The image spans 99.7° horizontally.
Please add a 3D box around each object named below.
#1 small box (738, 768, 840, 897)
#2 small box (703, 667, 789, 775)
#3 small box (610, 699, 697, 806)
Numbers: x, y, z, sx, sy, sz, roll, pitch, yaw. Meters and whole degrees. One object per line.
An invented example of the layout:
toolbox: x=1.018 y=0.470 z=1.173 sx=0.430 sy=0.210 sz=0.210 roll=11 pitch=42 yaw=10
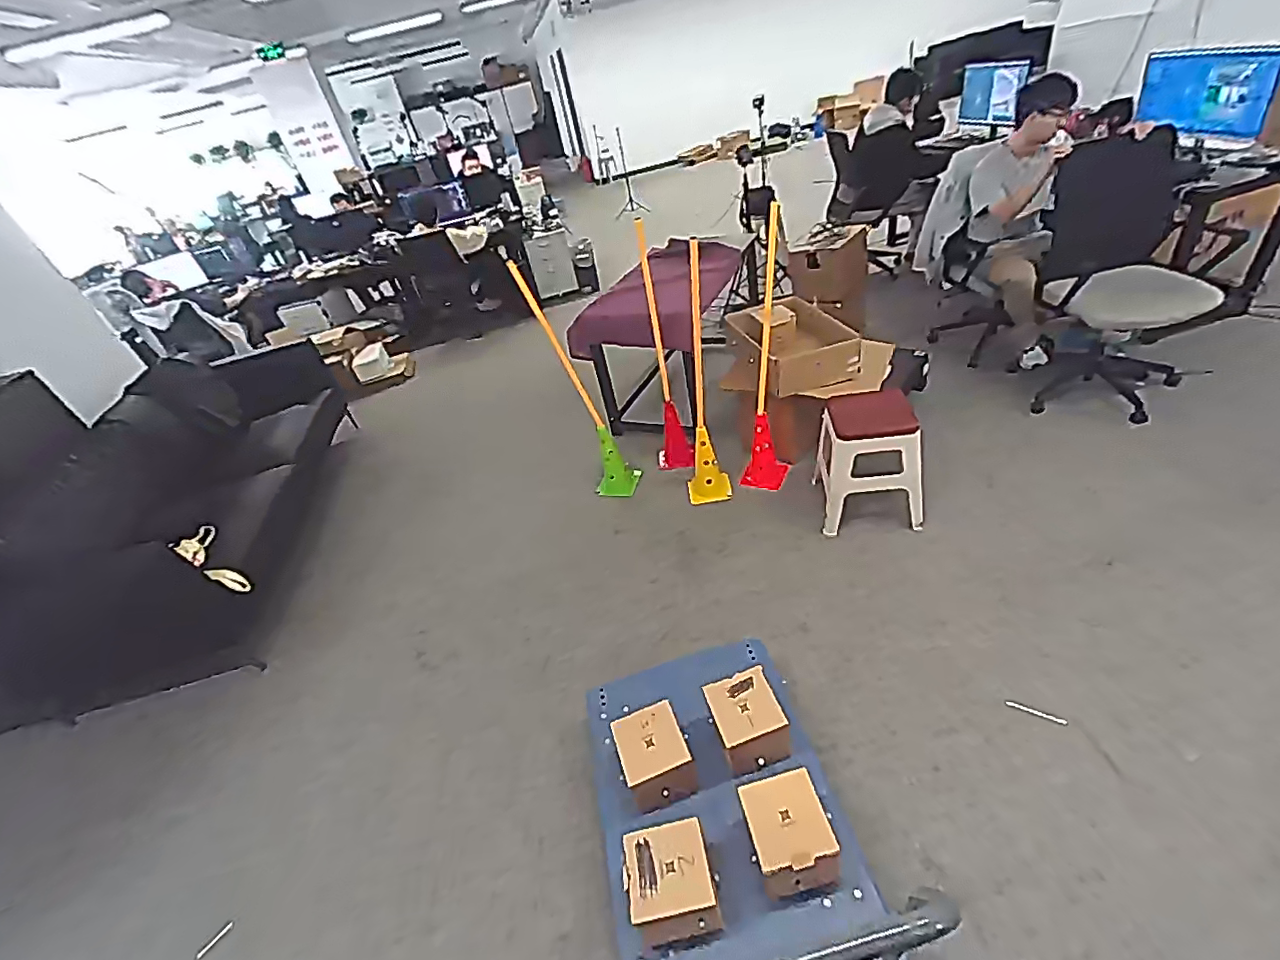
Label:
small box: x=0.330 y=0.790 z=1.214 sx=0.168 sy=0.176 sz=0.179 roll=-16 pitch=37 yaw=-2
small box: x=0.279 y=0.636 z=1.428 sx=0.168 sy=0.176 sz=0.179 roll=-19 pitch=38 yaw=-5
small box: x=0.037 y=0.715 z=1.406 sx=0.168 sy=0.176 sz=0.179 roll=-19 pitch=37 yaw=-8
